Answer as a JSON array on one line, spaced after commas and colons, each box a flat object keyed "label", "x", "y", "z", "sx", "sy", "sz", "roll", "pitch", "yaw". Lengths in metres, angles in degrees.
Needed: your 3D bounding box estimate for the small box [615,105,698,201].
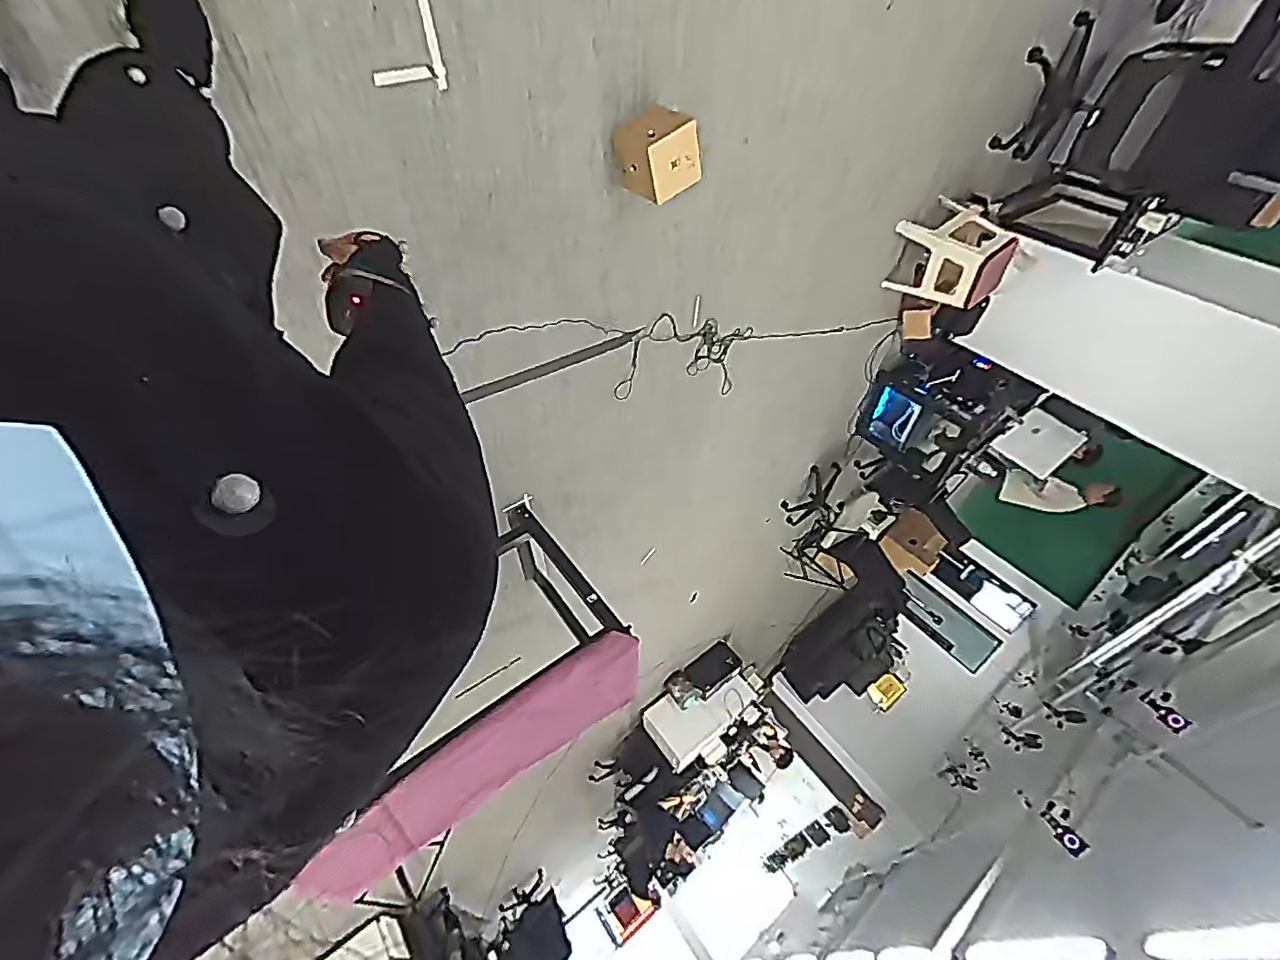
[{"label": "small box", "x": 0.044, "y": -0.950, "z": 1.568, "sx": 0.179, "sy": 0.176, "sz": 0.168, "roll": -38, "pitch": 148, "yaw": -13}]
